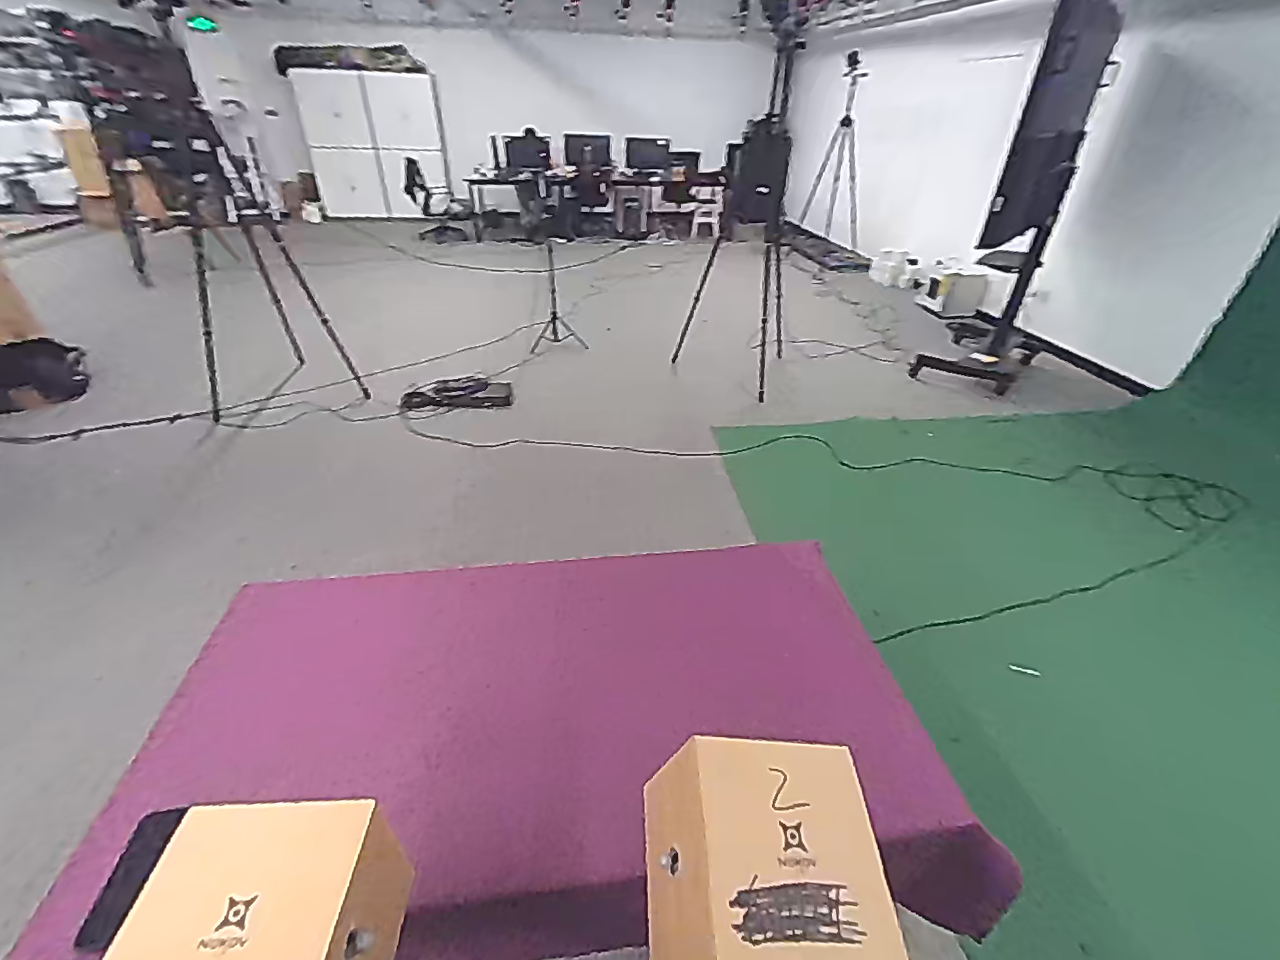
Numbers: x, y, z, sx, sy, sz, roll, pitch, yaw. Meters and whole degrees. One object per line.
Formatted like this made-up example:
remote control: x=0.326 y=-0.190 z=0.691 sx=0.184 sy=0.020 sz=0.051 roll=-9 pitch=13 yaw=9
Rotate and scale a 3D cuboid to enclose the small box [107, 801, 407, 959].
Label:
small box: x=-0.319 y=0.410 z=0.470 sx=0.168 sy=0.176 sz=0.179 roll=1 pitch=37 yaw=-4
